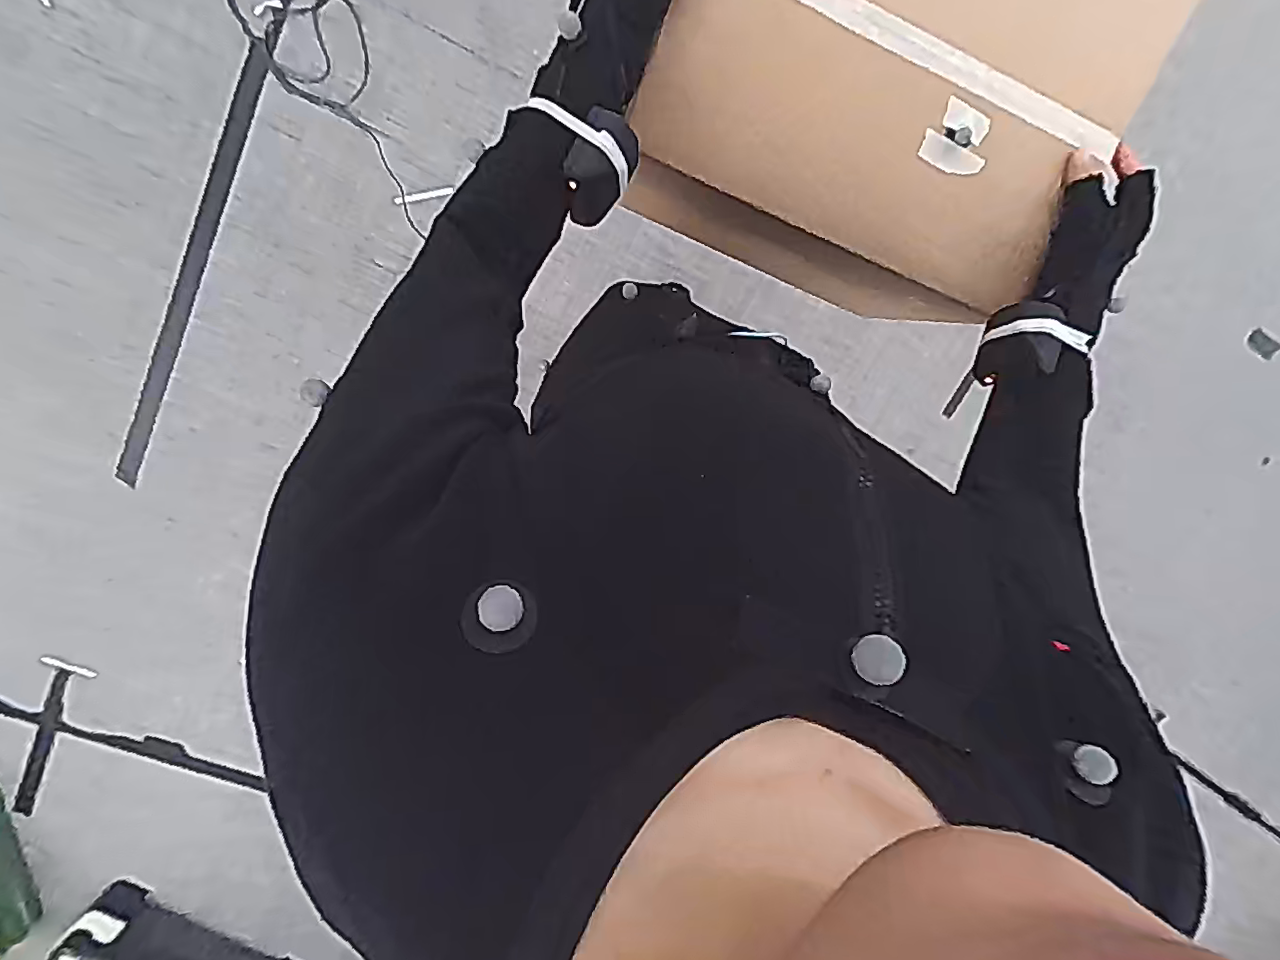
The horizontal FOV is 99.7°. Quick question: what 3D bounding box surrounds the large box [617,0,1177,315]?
[{"bbox_3d":[0.213,-0.407,0.598,0.408,0.320,0.320,20,107,-10],"label":"large box"}]
